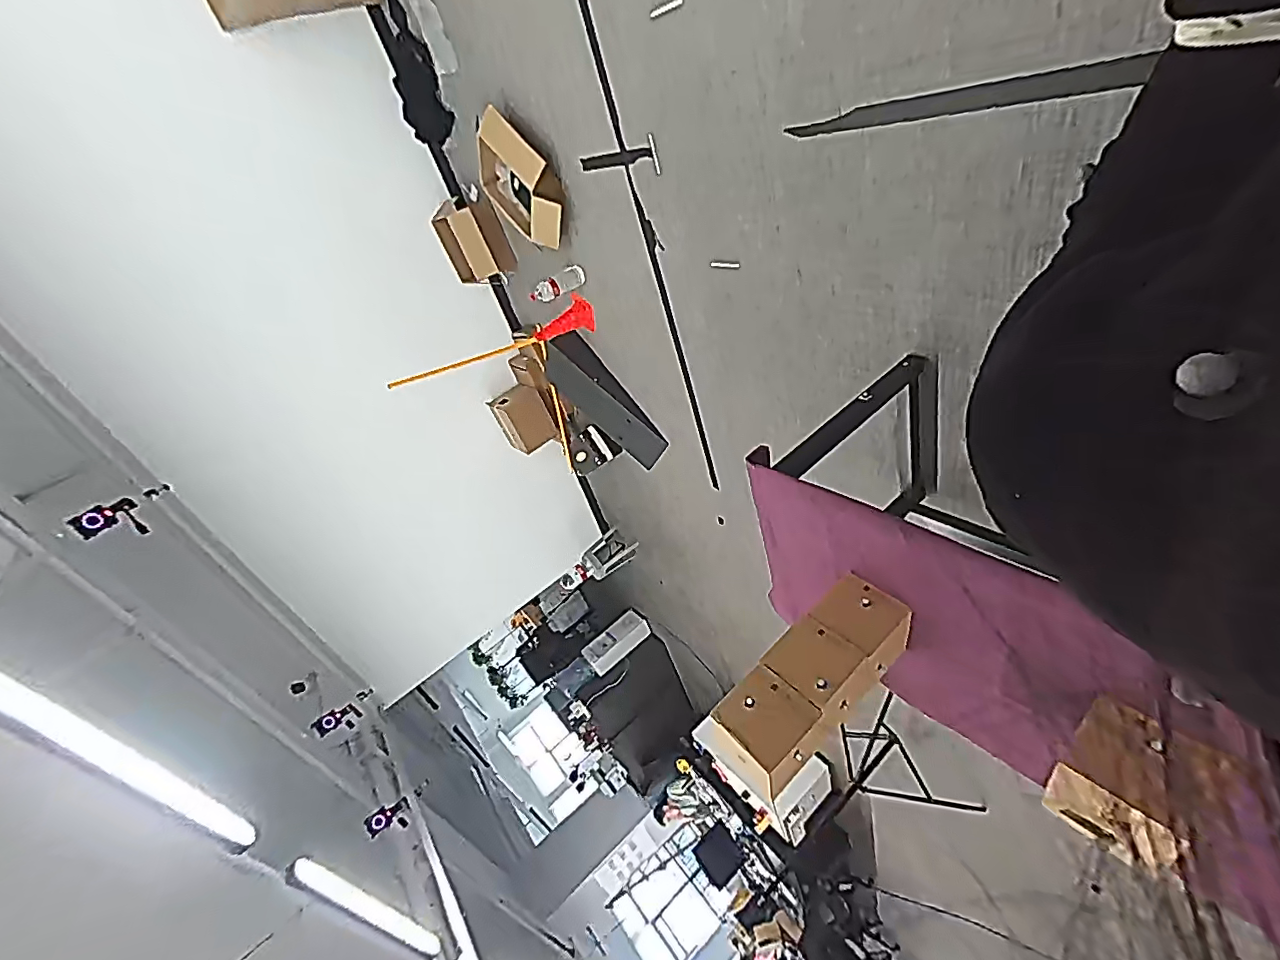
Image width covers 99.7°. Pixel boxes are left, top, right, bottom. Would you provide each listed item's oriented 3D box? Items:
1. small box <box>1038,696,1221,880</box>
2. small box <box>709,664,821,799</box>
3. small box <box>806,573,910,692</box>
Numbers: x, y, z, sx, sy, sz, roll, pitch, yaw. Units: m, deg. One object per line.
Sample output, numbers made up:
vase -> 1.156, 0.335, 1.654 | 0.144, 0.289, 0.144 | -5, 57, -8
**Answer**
small box -> 0.813, 0.508, 0.907 | 0.168, 0.176, 0.179 | 30, 148, 46
small box -> 0.274, 0.535, 1.168 | 0.168, 0.176, 0.179 | 35, 153, 41
small box -> 0.519, 0.360, 1.293 | 0.168, 0.176, 0.179 | 32, 150, 42
